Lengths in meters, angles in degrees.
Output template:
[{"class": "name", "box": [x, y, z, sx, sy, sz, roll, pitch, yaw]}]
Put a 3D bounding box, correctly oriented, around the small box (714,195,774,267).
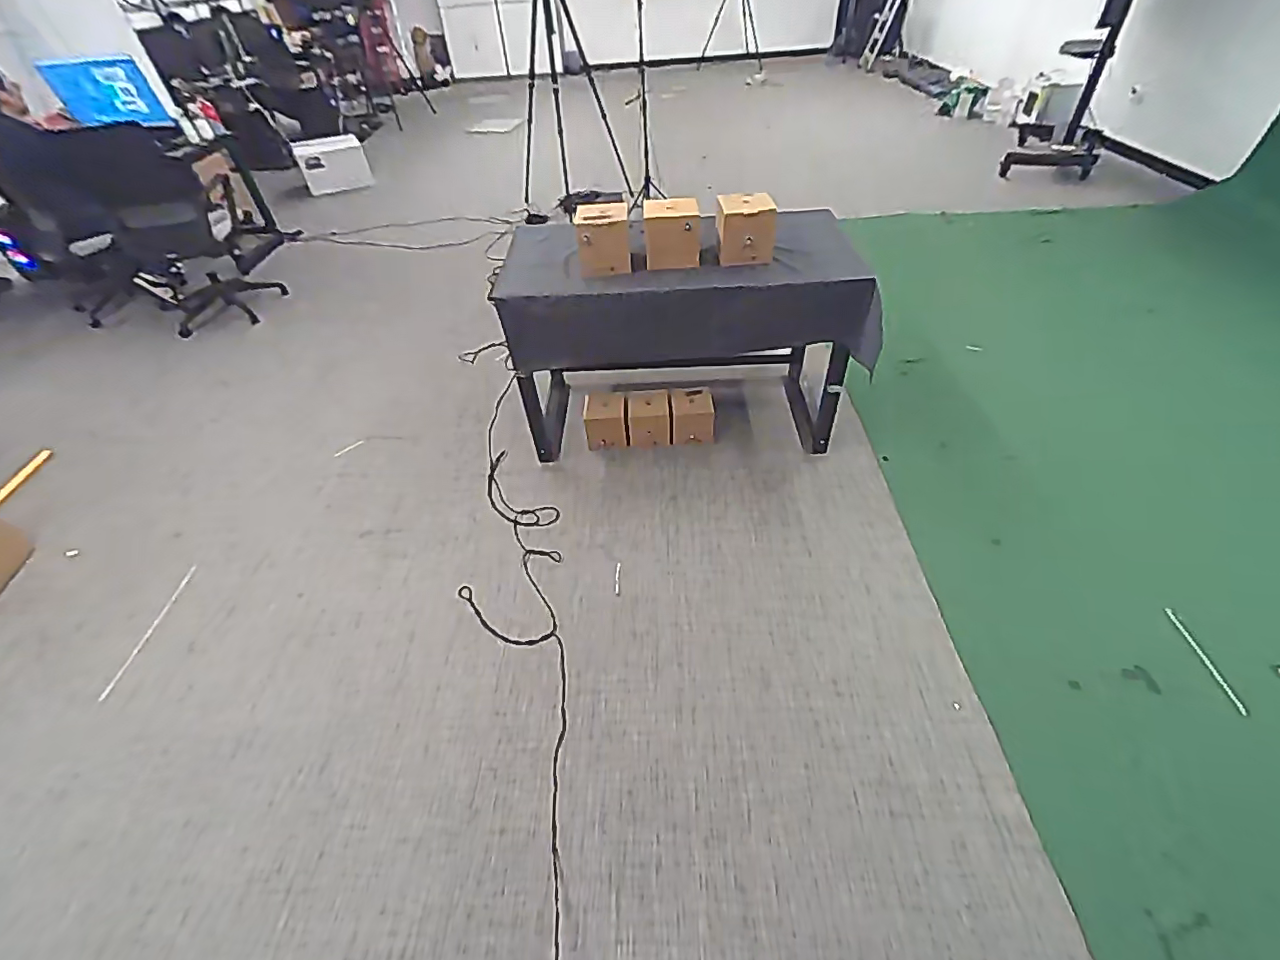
[{"class": "small box", "box": [0.335, -0.813, 1.773, 0.168, 0.176, 0.179, -3, 45, 1]}]
